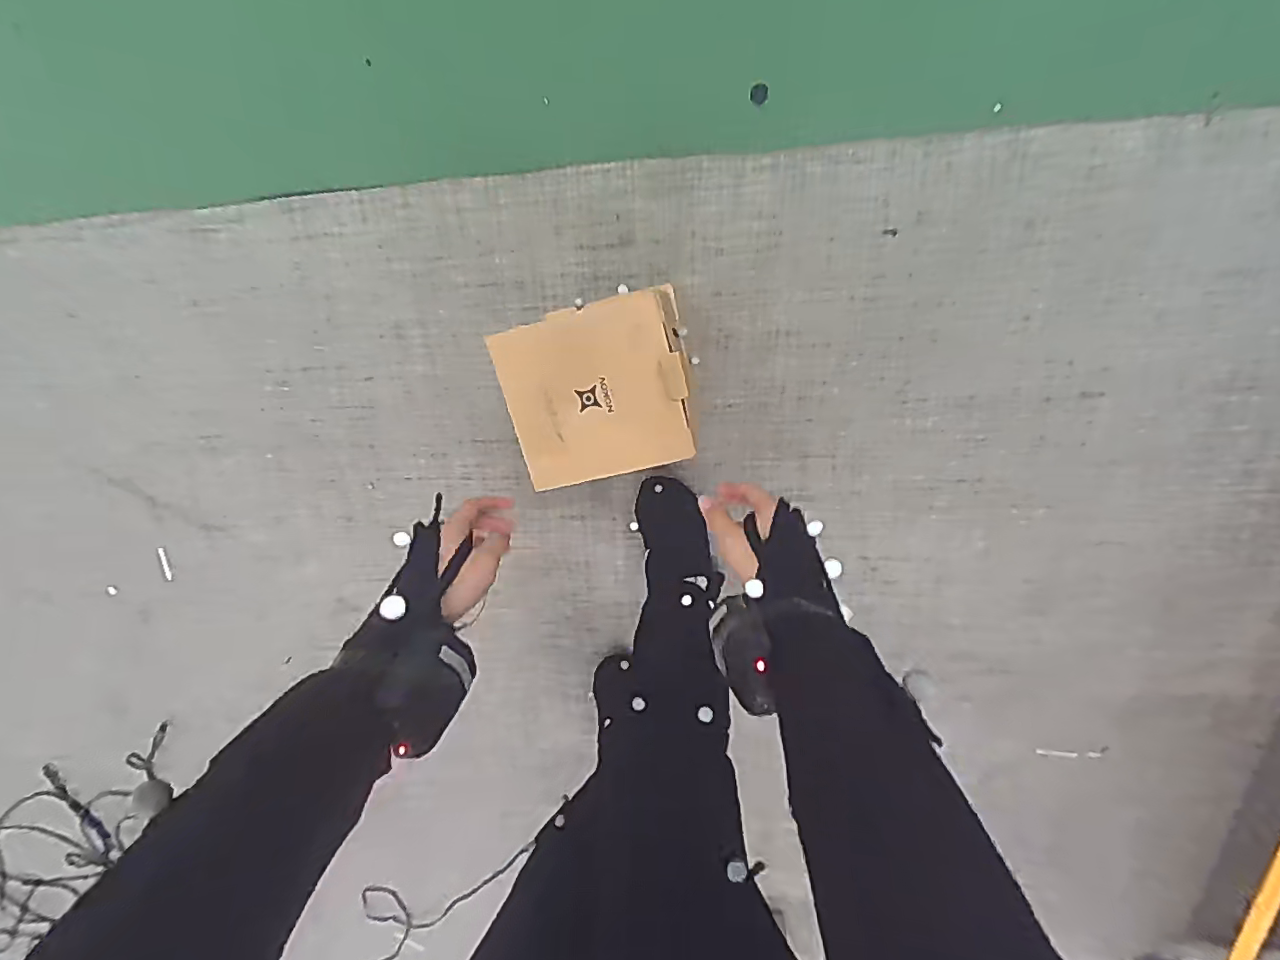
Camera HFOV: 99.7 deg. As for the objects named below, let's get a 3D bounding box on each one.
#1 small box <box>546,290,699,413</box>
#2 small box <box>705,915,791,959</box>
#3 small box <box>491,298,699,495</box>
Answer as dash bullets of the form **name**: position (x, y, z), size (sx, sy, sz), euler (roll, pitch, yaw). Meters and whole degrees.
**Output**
- **small box**: position (-0.012, -0.160, 0.760), size (0.168, 0.176, 0.179), euler (-10, 106, 10)
- **small box**: position (0.233, 1.054, 1.132), size (0.179, 0.176, 0.168), euler (-6, 107, 8)
- **small box**: position (-0.035, -0.101, 0.611), size (0.179, 0.176, 0.168), euler (-13, 104, 11)
